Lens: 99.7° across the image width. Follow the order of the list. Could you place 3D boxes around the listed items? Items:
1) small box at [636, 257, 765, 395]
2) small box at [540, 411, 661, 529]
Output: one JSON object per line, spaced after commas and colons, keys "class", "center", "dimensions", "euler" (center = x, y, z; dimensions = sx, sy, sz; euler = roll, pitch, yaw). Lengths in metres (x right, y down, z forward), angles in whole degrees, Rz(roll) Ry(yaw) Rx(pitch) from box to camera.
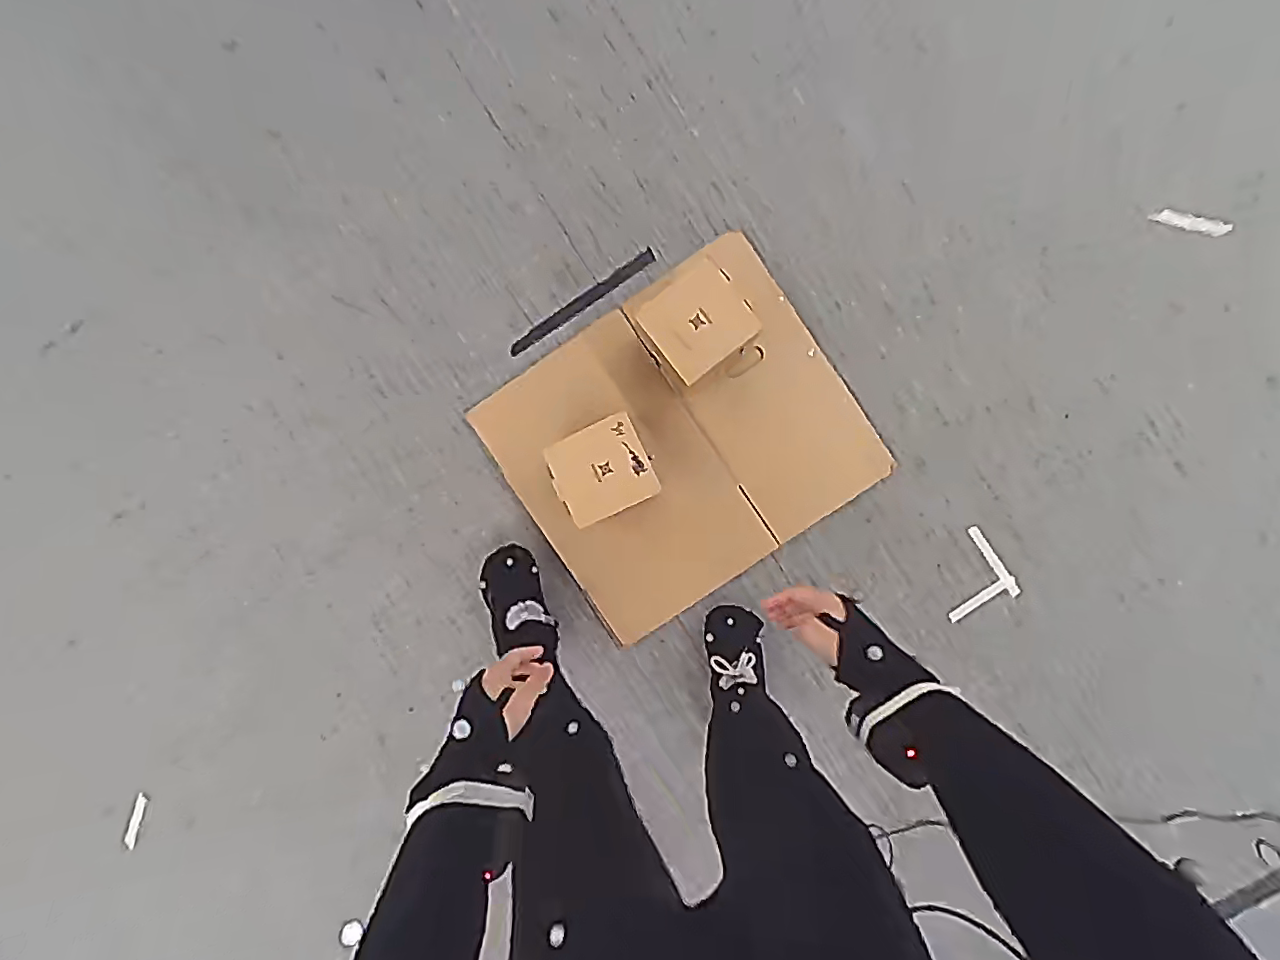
{"class": "small box", "center": [0.108, -0.283, 1.038], "dimensions": [0.179, 0.176, 0.168], "euler": [-39, 90, 3]}
{"class": "small box", "center": [-0.067, -0.021, 1.054], "dimensions": [0.179, 0.176, 0.168], "euler": [-25, 93, 4]}
